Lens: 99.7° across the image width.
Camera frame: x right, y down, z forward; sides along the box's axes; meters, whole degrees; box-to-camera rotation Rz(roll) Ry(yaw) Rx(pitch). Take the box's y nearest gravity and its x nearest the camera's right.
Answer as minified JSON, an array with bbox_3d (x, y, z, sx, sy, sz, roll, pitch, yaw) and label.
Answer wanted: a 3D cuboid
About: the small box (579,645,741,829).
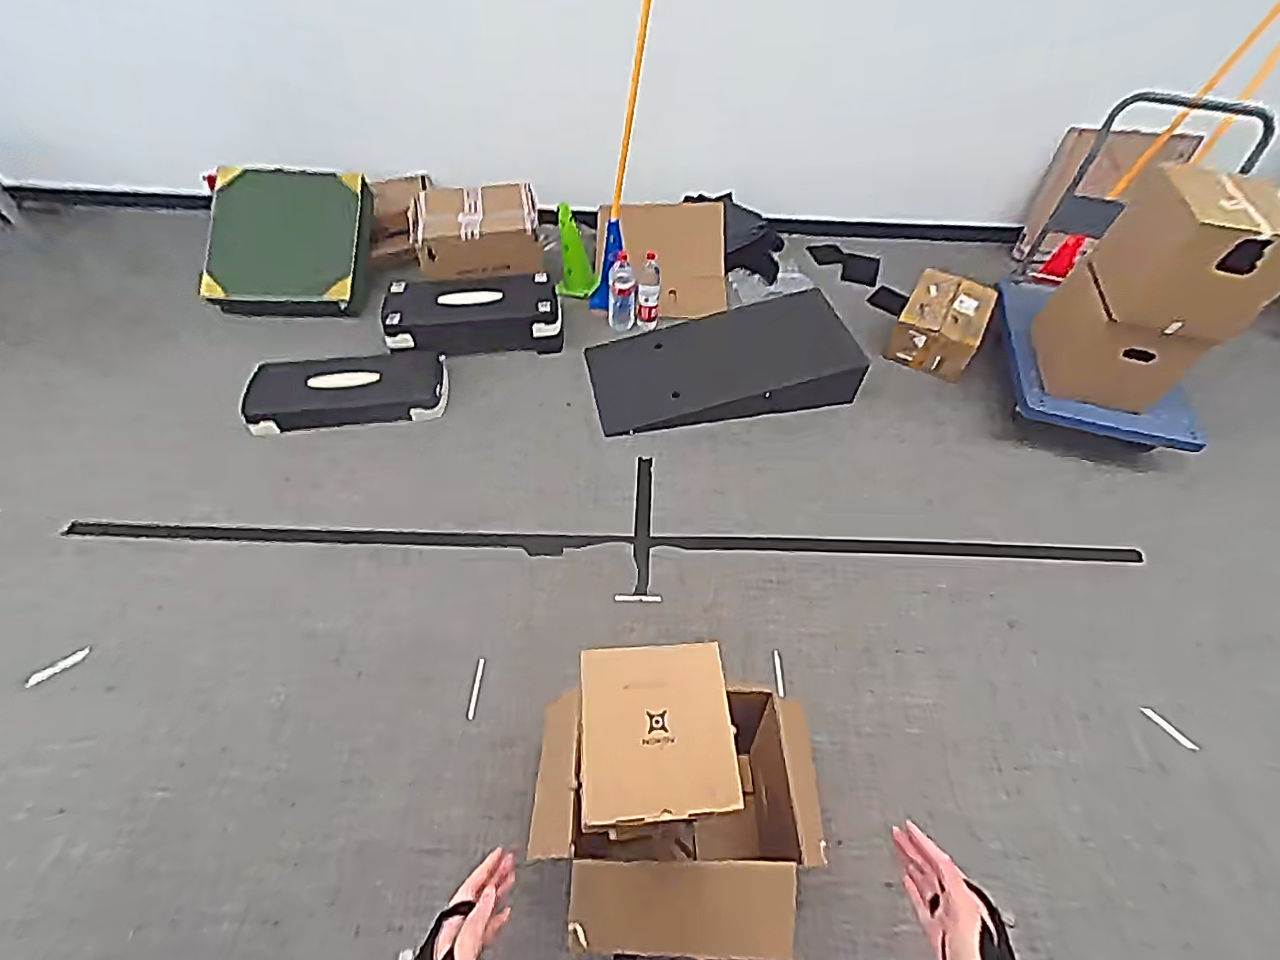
[{"bbox_3d":[0.011,0.313,0.653,0.168,0.176,0.179,-1,56,-7],"label":"small box"}]
